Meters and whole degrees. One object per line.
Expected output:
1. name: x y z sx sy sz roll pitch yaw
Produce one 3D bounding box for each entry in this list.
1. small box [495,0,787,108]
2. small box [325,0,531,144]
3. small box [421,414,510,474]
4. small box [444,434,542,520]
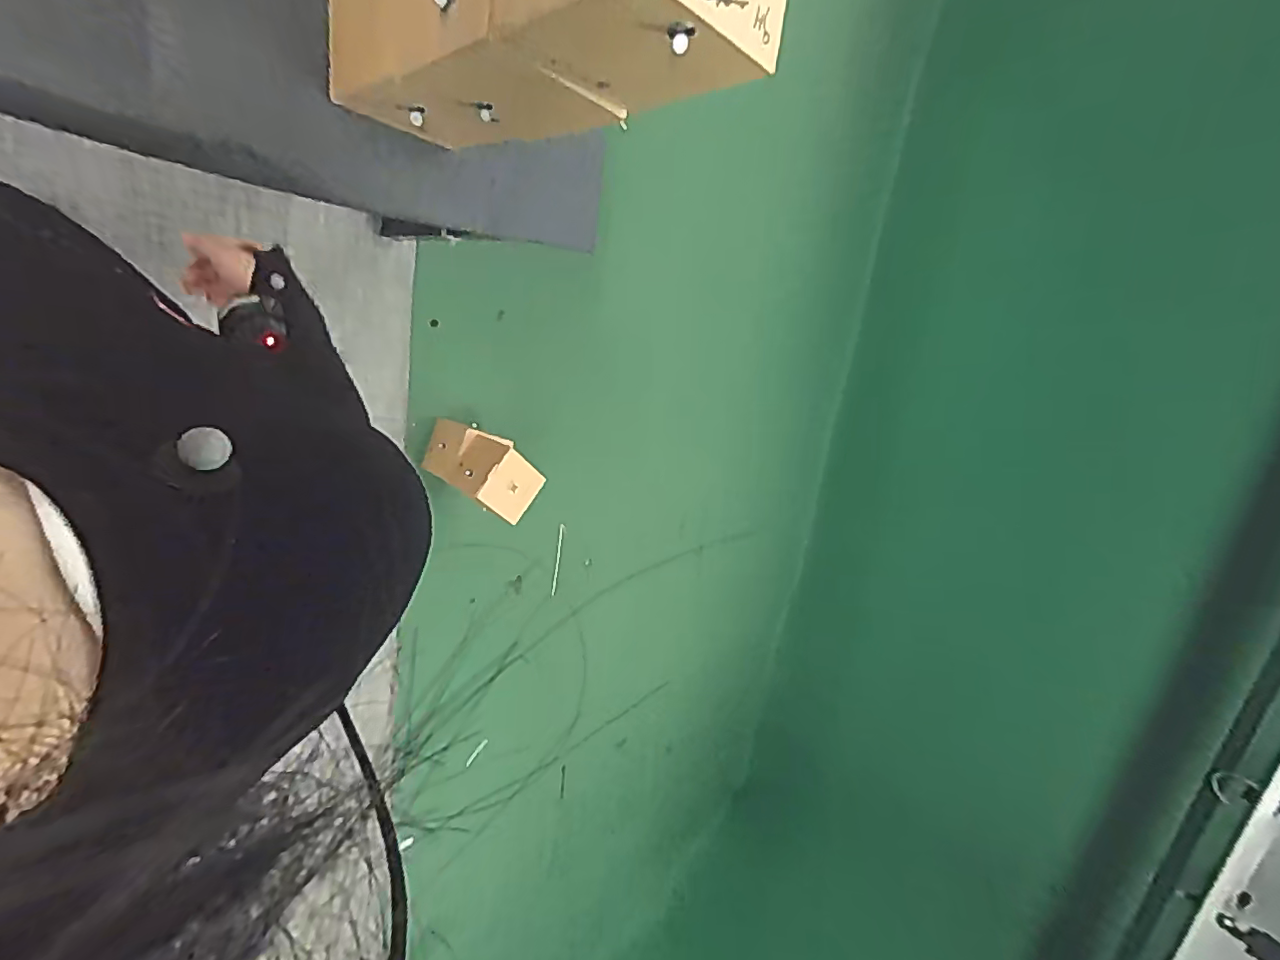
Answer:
1. small box: 0.003 -0.420 0.411 0.168 0.176 0.179 -13 114 -47
2. small box: -0.239 -0.509 0.615 0.168 0.176 0.179 -9 112 -49
3. small box: -0.535 -0.092 1.646 0.179 0.176 0.168 17 94 -53
4. small box: -0.424 -0.015 1.551 0.168 0.176 0.179 -56 141 -13
